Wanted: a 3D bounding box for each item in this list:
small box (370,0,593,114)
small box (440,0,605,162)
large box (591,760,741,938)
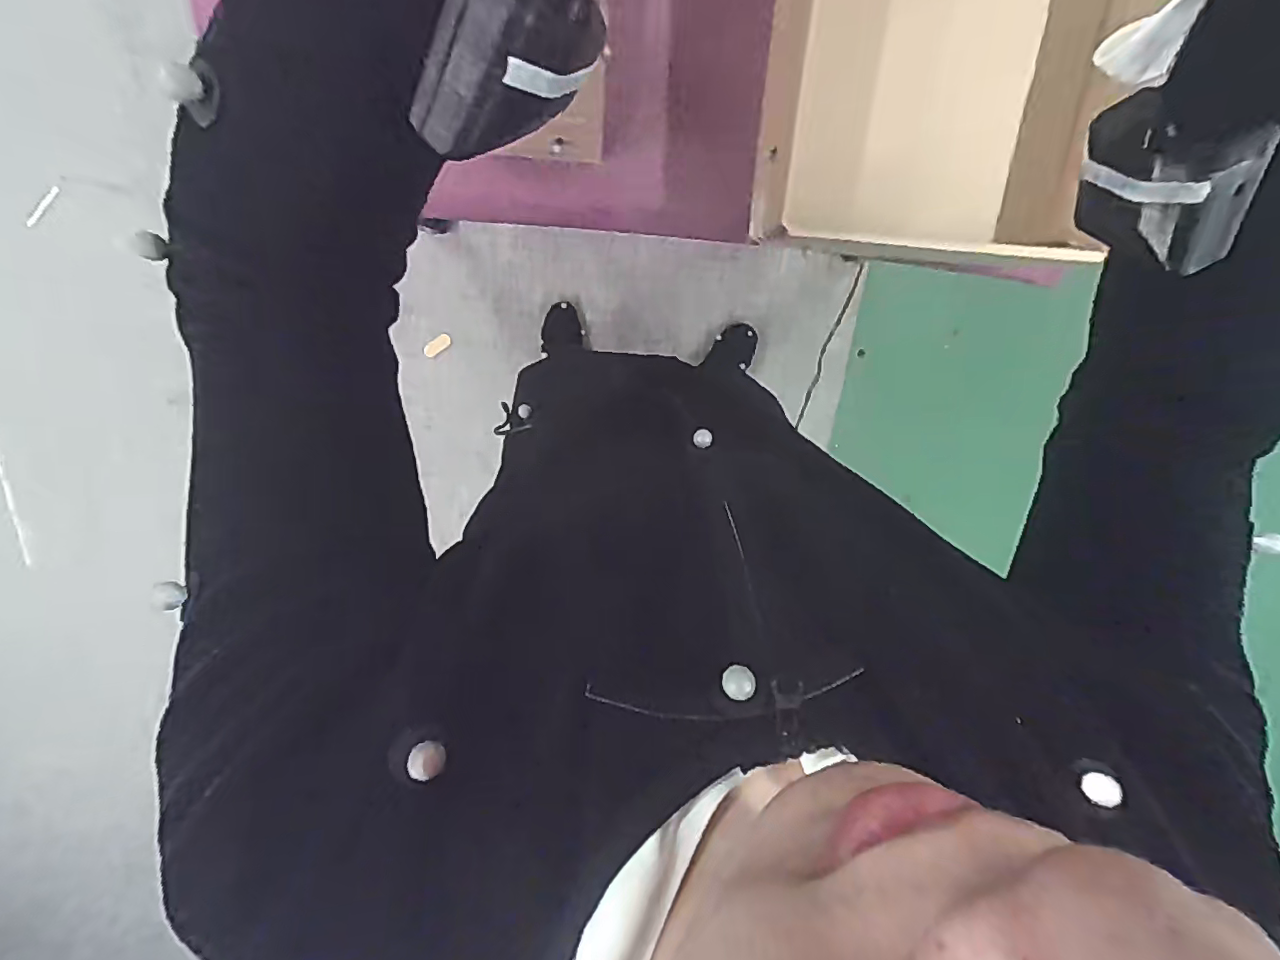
[{"bbox_3d":[-0.130,-0.461,0.491,0.168,0.176,0.179,4,107,-2],"label":"small box"},{"bbox_3d":[-0.132,-0.504,0.649,0.168,0.176,0.179,4,106,-2],"label":"small box"},{"bbox_3d":[0.084,1.269,1.882,0.408,0.320,0.320,-27,106,7],"label":"large box"}]
